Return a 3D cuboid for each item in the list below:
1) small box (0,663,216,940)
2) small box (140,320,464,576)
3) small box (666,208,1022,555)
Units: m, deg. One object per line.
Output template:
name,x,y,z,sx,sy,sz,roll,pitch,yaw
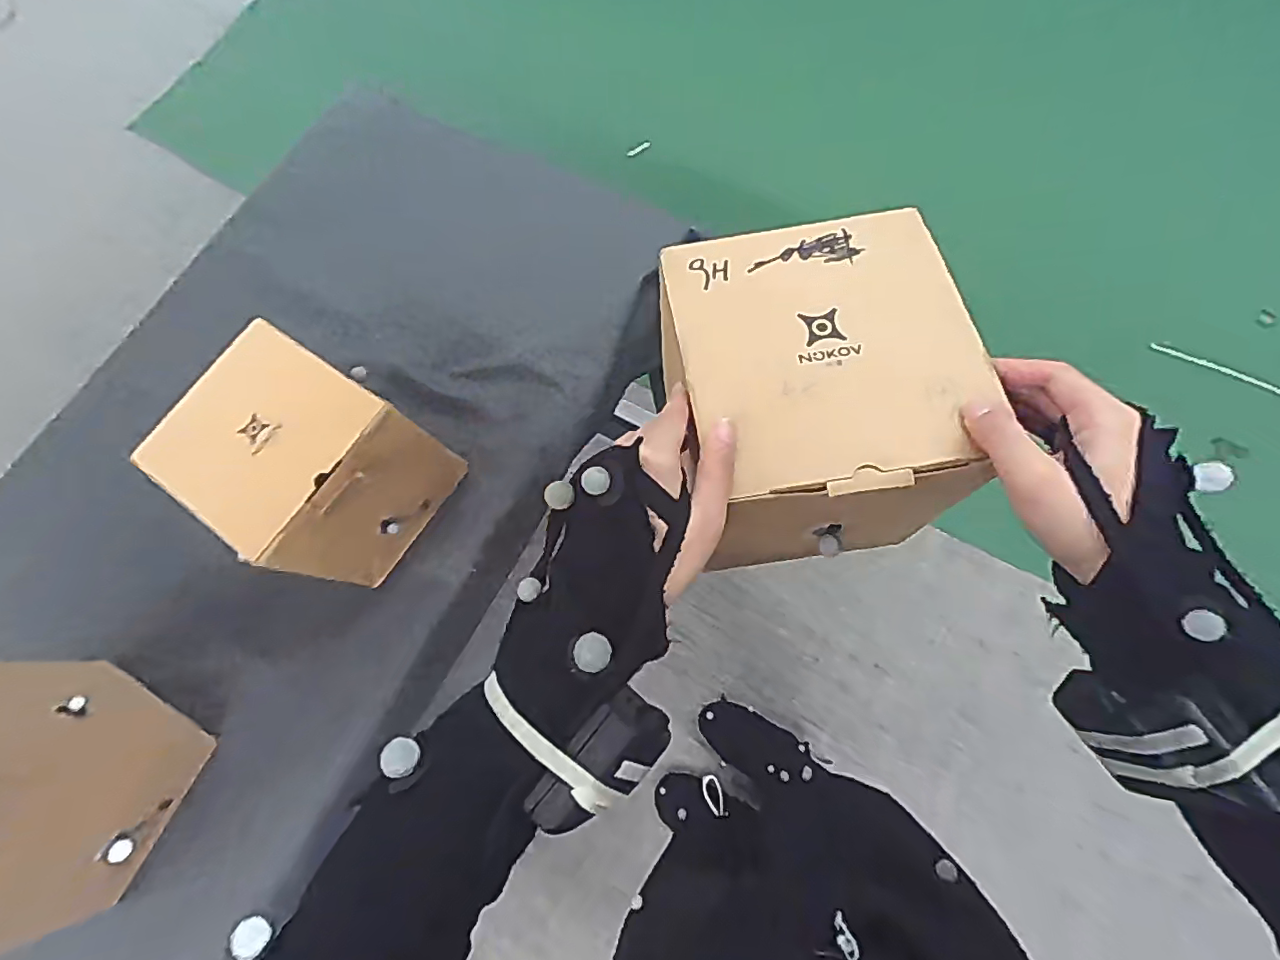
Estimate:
small box,-0.547,0.276,0.477,0.179,0.176,0.168,24,77,13
small box,-0.317,-0.020,0.544,0.179,0.176,0.168,31,78,15
small box,0.114,-0.051,0.385,0.168,0.176,0.179,-8,68,1
